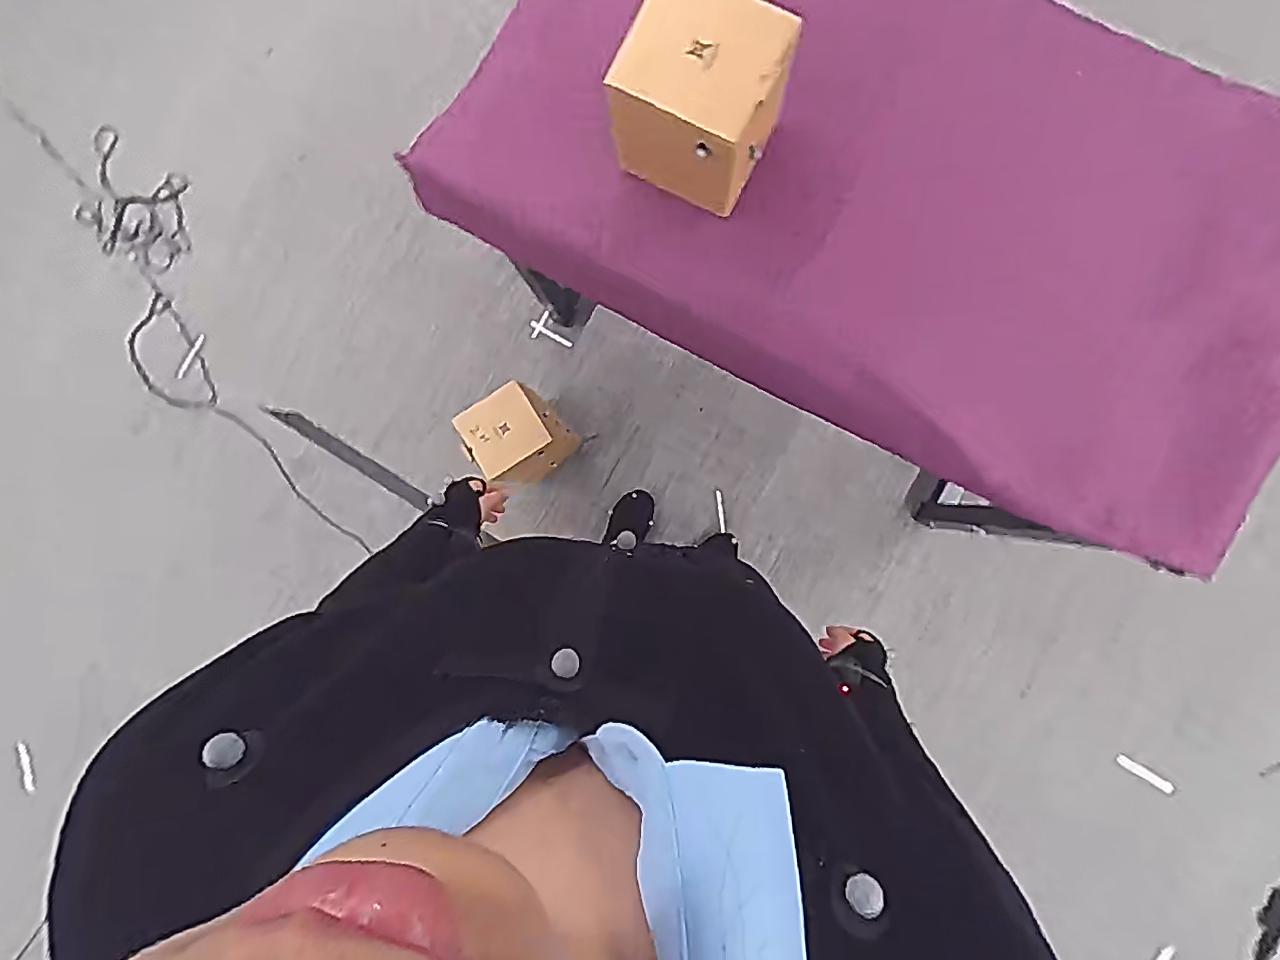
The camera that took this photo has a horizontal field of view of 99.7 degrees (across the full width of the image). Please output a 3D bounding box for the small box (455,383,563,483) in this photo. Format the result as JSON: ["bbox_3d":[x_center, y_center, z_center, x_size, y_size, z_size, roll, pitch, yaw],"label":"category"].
[{"bbox_3d":[-0.298,-0.106,1.284,0.179,0.176,0.168,-32,87,3],"label":"small box"}]

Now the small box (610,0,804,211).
[{"bbox_3d":[0.081,-0.490,0.705,0.179,0.176,0.168,27,90,3],"label":"small box"}]
